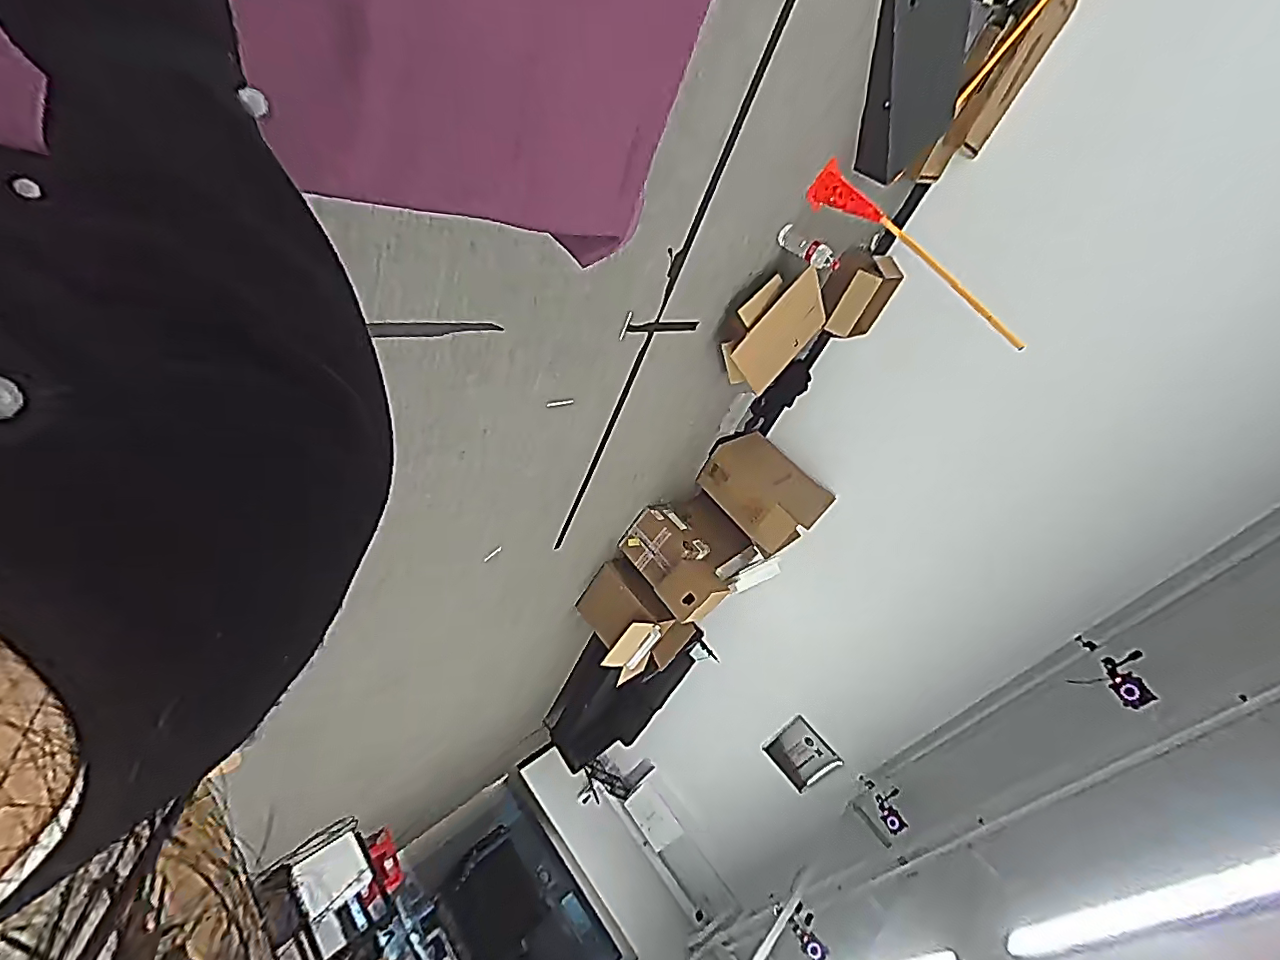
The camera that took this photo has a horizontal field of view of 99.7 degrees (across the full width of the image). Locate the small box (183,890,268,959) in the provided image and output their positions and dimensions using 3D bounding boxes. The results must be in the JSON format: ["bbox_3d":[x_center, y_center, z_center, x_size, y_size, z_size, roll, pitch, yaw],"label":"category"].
[{"bbox_3d":[-1.254,1.396,1.637,0.168,0.176,0.179,-17,144,-47],"label":"small box"}]

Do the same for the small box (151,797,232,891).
[{"bbox_3d":[-1.468,1.187,1.773,0.168,0.176,0.179,-19,144,-45],"label":"small box"}]

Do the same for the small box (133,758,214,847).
[{"bbox_3d":[-1.579,1.089,1.840,0.179,0.176,0.168,-19,144,-44],"label":"small box"}]
